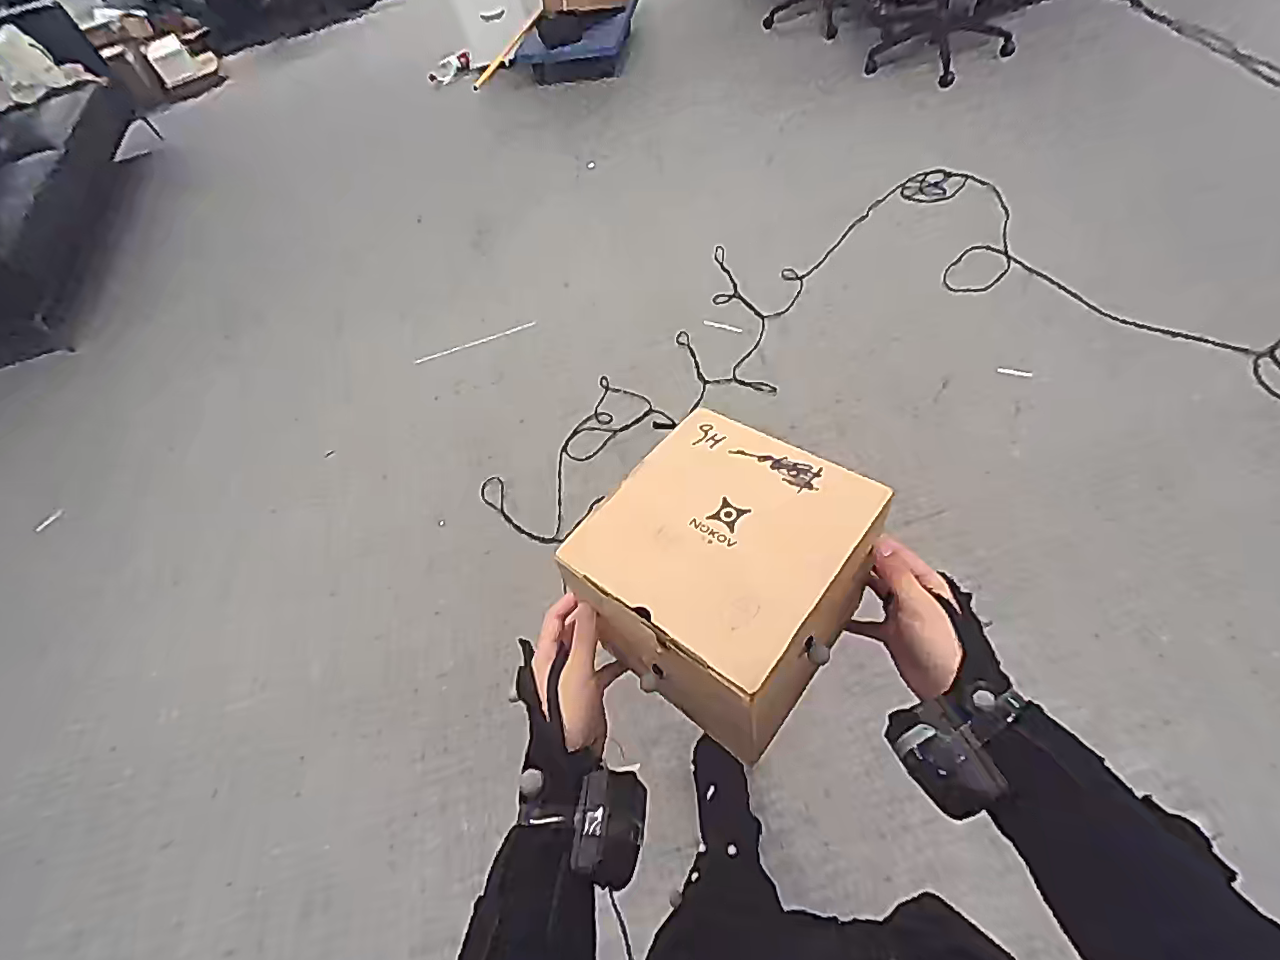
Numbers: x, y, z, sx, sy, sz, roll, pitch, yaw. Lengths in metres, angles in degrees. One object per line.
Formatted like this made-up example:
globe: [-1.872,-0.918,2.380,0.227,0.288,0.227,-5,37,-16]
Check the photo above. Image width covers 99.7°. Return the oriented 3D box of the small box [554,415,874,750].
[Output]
small box: [0.066,0.085,0.443,0.168,0.176,0.179,29,62,31]
